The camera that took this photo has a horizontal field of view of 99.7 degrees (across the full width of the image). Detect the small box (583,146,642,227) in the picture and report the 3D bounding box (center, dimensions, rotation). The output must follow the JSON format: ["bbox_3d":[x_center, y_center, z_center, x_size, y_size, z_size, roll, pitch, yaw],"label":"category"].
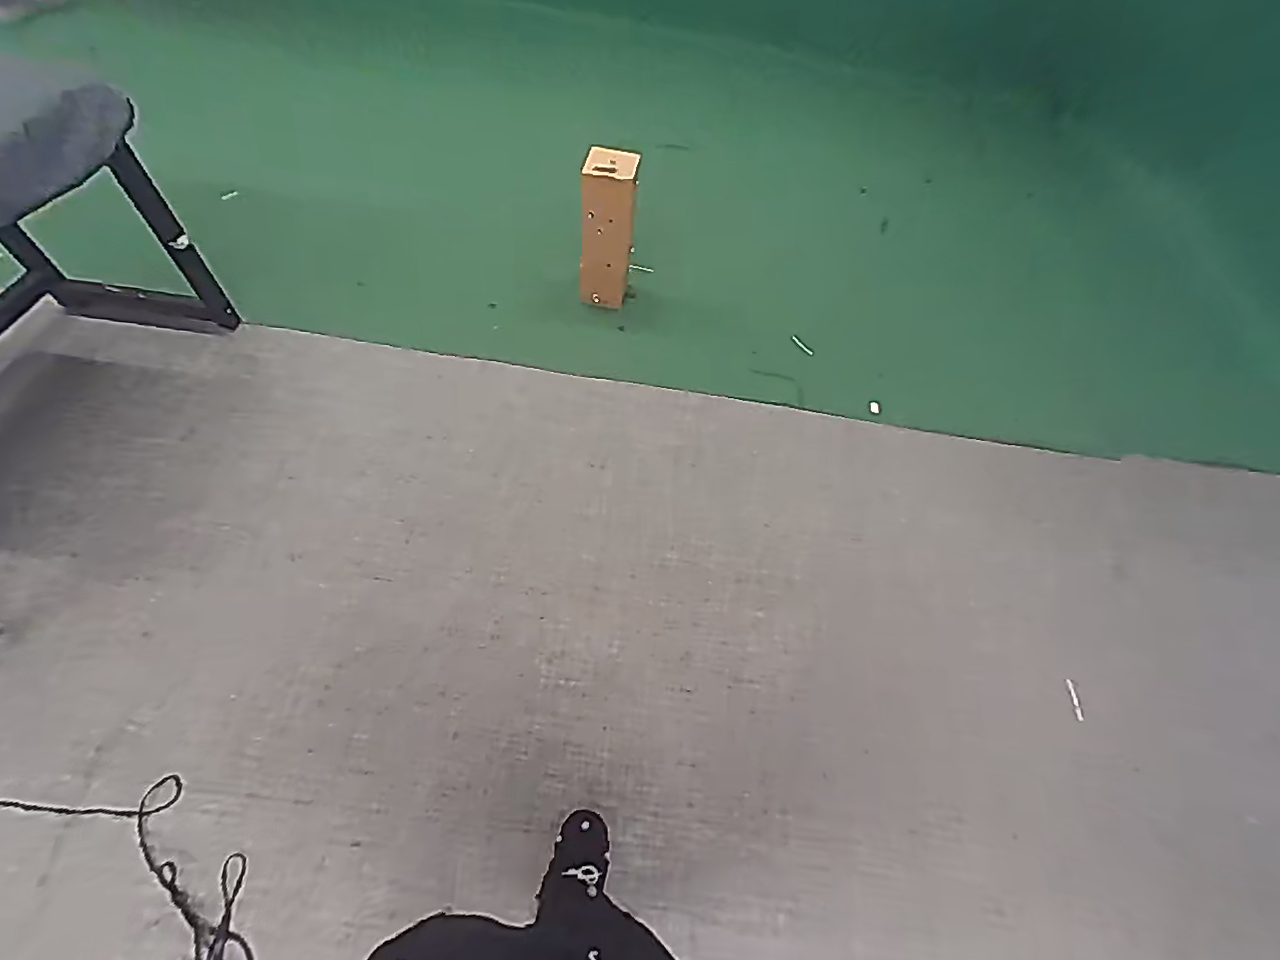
[{"bbox_3d":[-0.093,-0.982,1.816,0.168,0.176,0.179,11,55,0],"label":"small box"}]

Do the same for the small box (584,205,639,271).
[{"bbox_3d":[-0.107,-0.887,1.950,0.168,0.176,0.179,11,56,1],"label":"small box"}]

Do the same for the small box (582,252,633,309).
[{"bbox_3d":[-0.127,-0.794,2.084,0.168,0.176,0.179,10,58,0],"label":"small box"}]
